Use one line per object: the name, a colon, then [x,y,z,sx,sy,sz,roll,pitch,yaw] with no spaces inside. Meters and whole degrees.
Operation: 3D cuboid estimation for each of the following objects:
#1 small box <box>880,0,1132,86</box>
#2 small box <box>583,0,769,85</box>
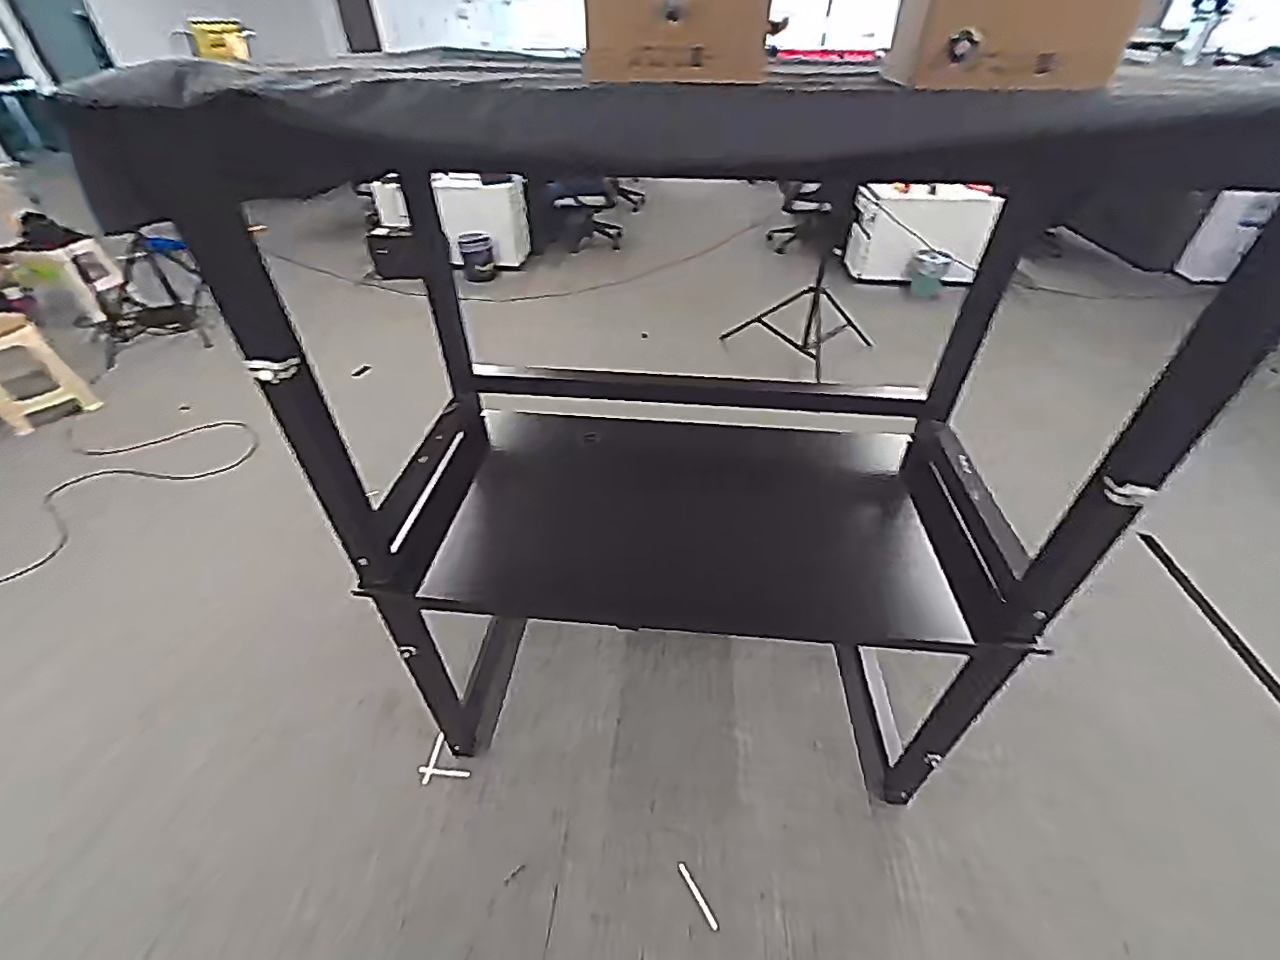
small box: [0.336,-0.467,0.493,0.168,0.176,0.179,6,38,8]
small box: [0.037,-0.485,0.513,0.168,0.176,0.179,3,38,5]
